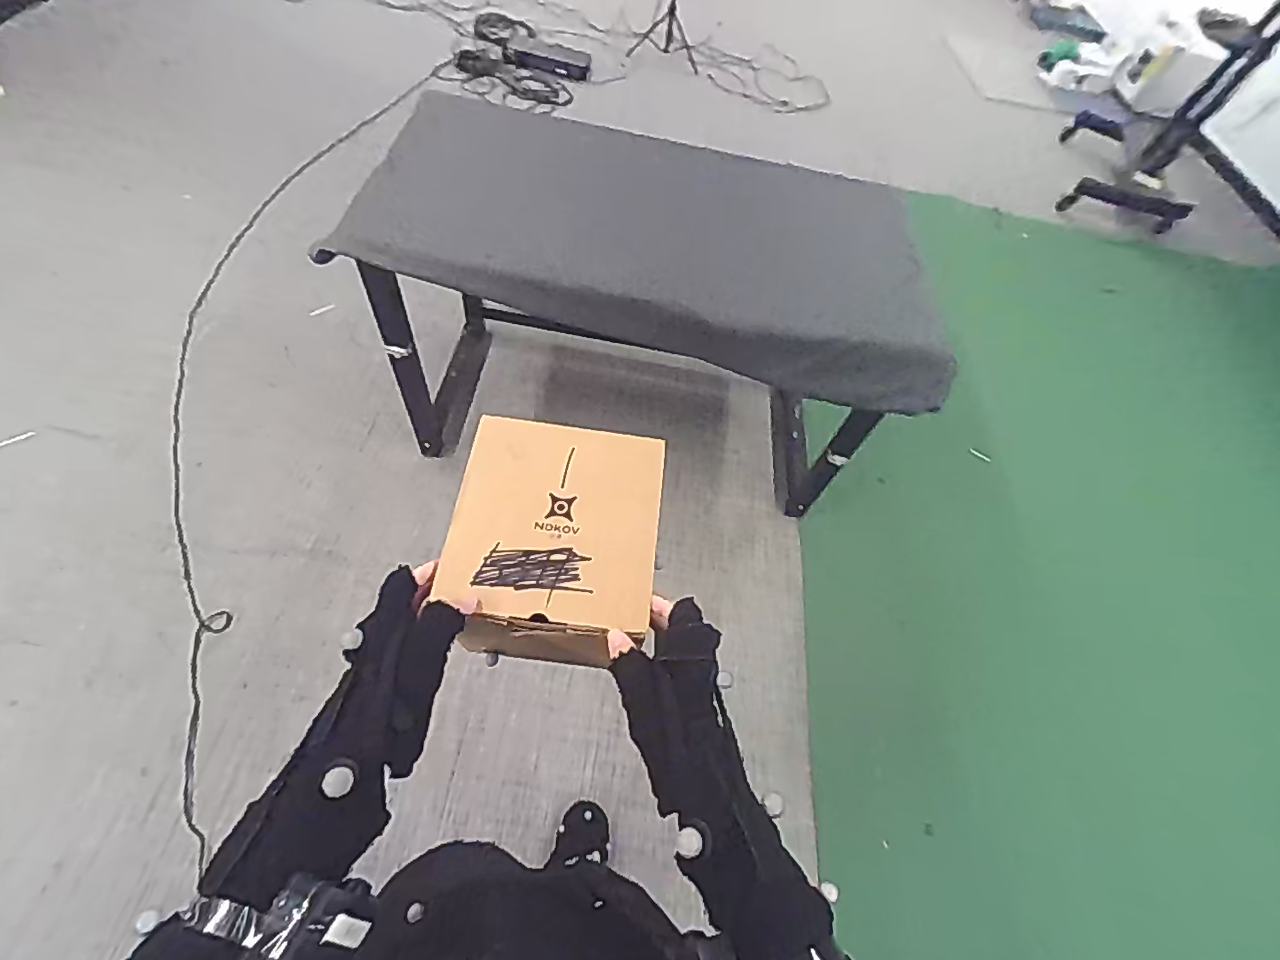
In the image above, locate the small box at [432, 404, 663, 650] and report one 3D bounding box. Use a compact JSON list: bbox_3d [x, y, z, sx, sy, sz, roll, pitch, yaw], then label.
[{"bbox_3d":[-0.075,0.055,0.515,0.168,0.176,0.179,8,62,-3],"label":"small box"}]
